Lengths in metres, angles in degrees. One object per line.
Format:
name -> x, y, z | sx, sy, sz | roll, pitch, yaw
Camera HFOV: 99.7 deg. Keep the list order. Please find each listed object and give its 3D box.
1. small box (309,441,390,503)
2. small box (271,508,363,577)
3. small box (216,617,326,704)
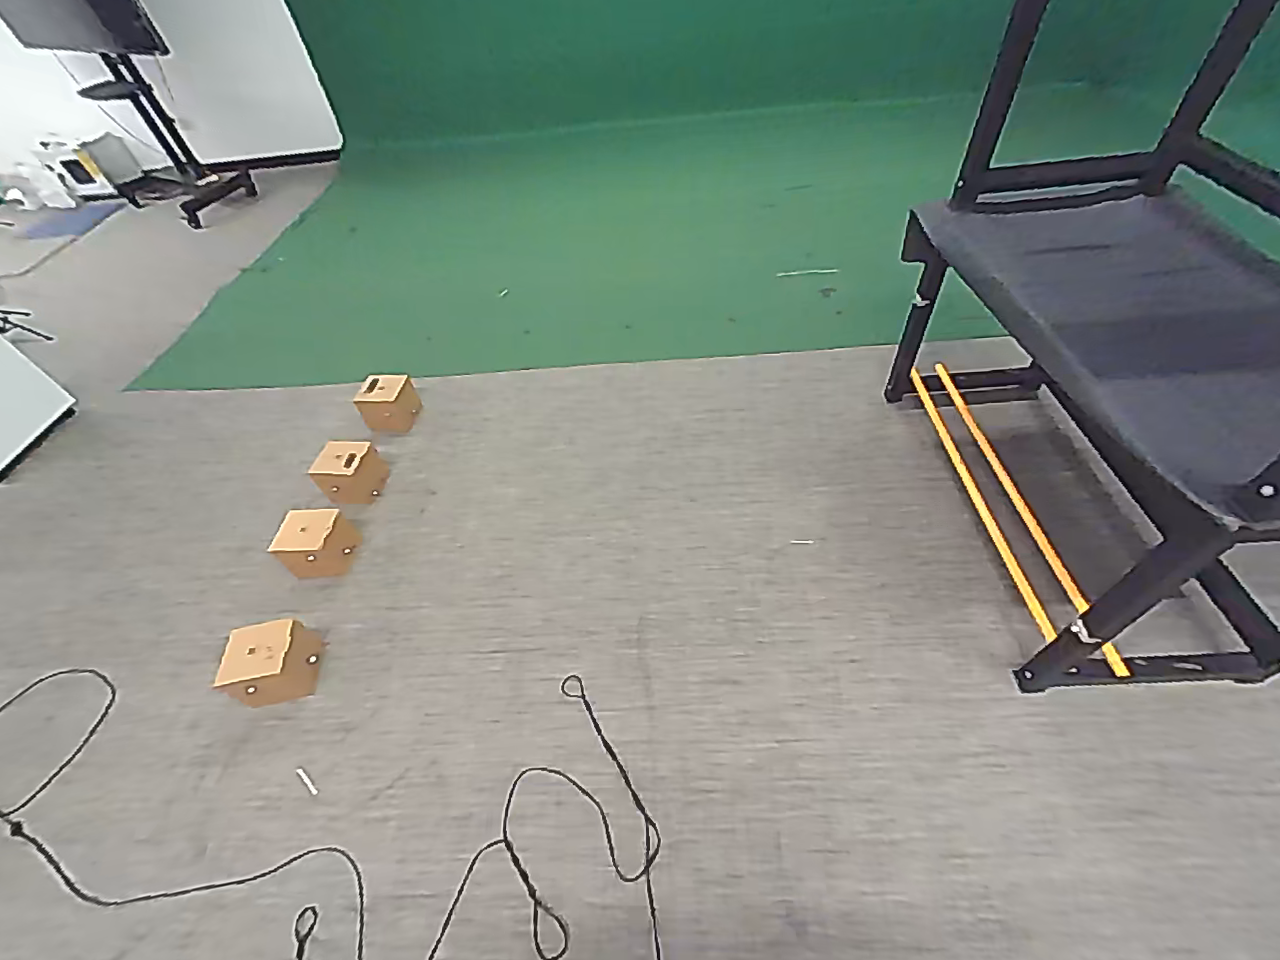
small box -> -1.065, -0.027, 2.004 | 0.179, 0.176, 0.168 | 2, 49, 9
small box -> -1.066, 0.211, 1.799 | 0.179, 0.176, 0.168 | -2, 49, 4
small box -> -1.033, 0.515, 1.530 | 0.179, 0.176, 0.168 | -12, 50, -3
